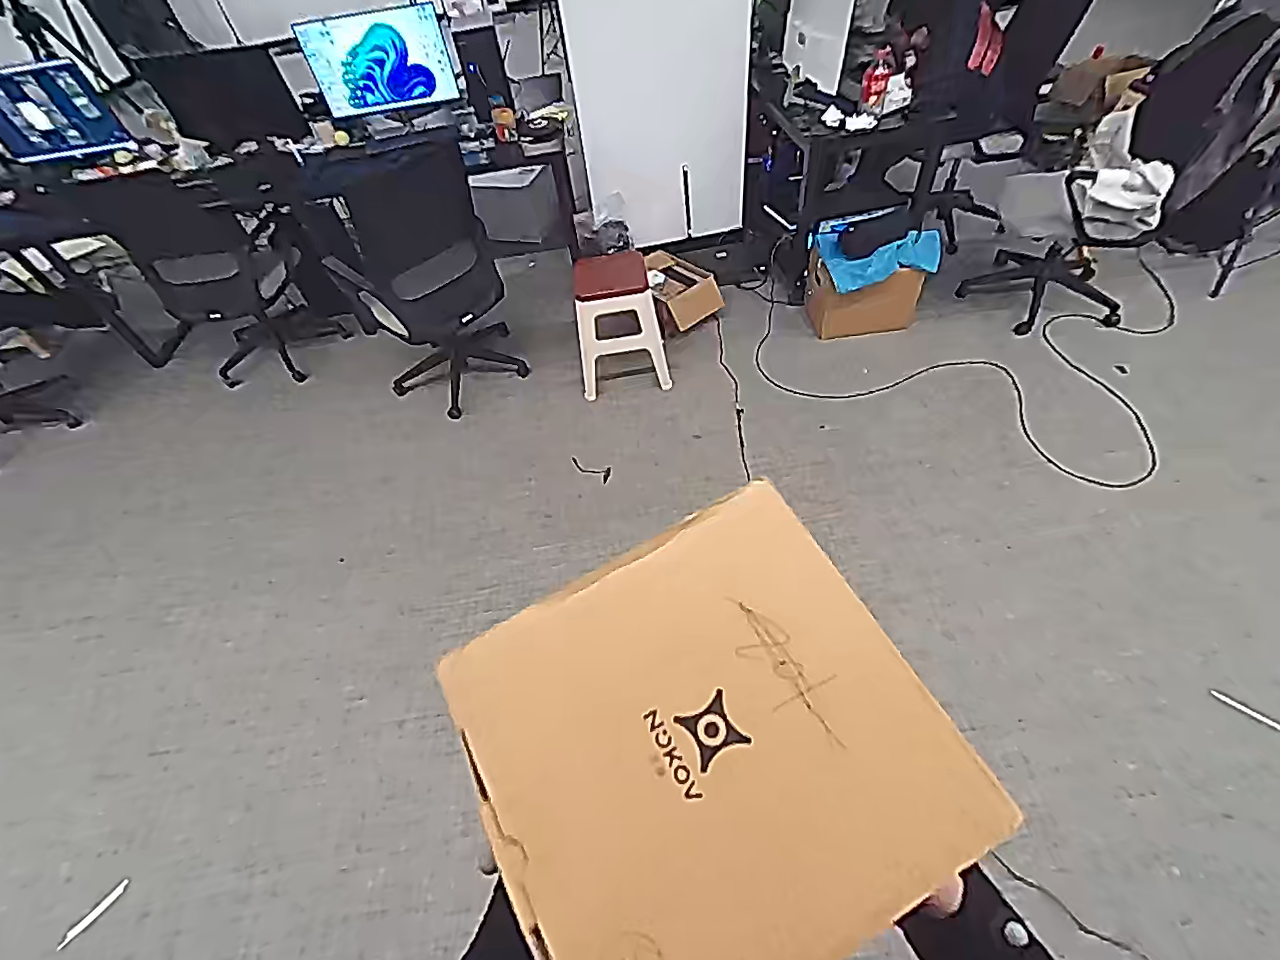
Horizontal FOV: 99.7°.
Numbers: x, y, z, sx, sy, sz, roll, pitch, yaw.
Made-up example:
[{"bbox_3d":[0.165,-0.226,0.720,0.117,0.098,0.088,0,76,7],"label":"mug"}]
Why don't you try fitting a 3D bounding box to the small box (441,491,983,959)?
[{"bbox_3d":[0.028,0.141,0.301,0.179,0.176,0.168,-31,68,-10],"label":"small box"}]
